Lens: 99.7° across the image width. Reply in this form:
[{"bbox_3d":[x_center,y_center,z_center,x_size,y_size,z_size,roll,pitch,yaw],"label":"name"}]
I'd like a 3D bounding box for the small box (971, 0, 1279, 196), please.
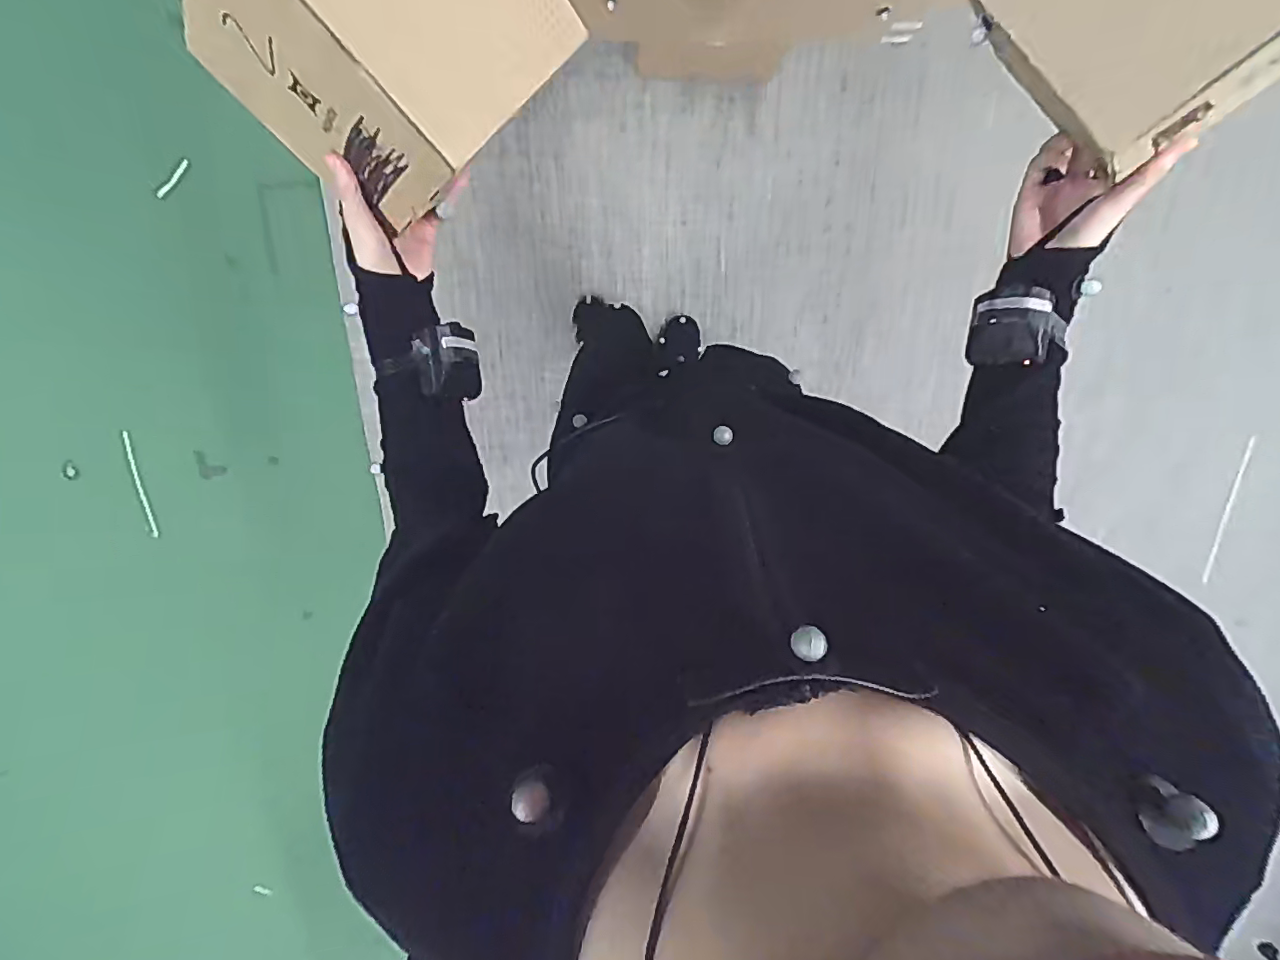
[{"bbox_3d":[0.352,-0.331,0.355,0.179,0.168,0.176,-41,75,42],"label":"small box"}]
